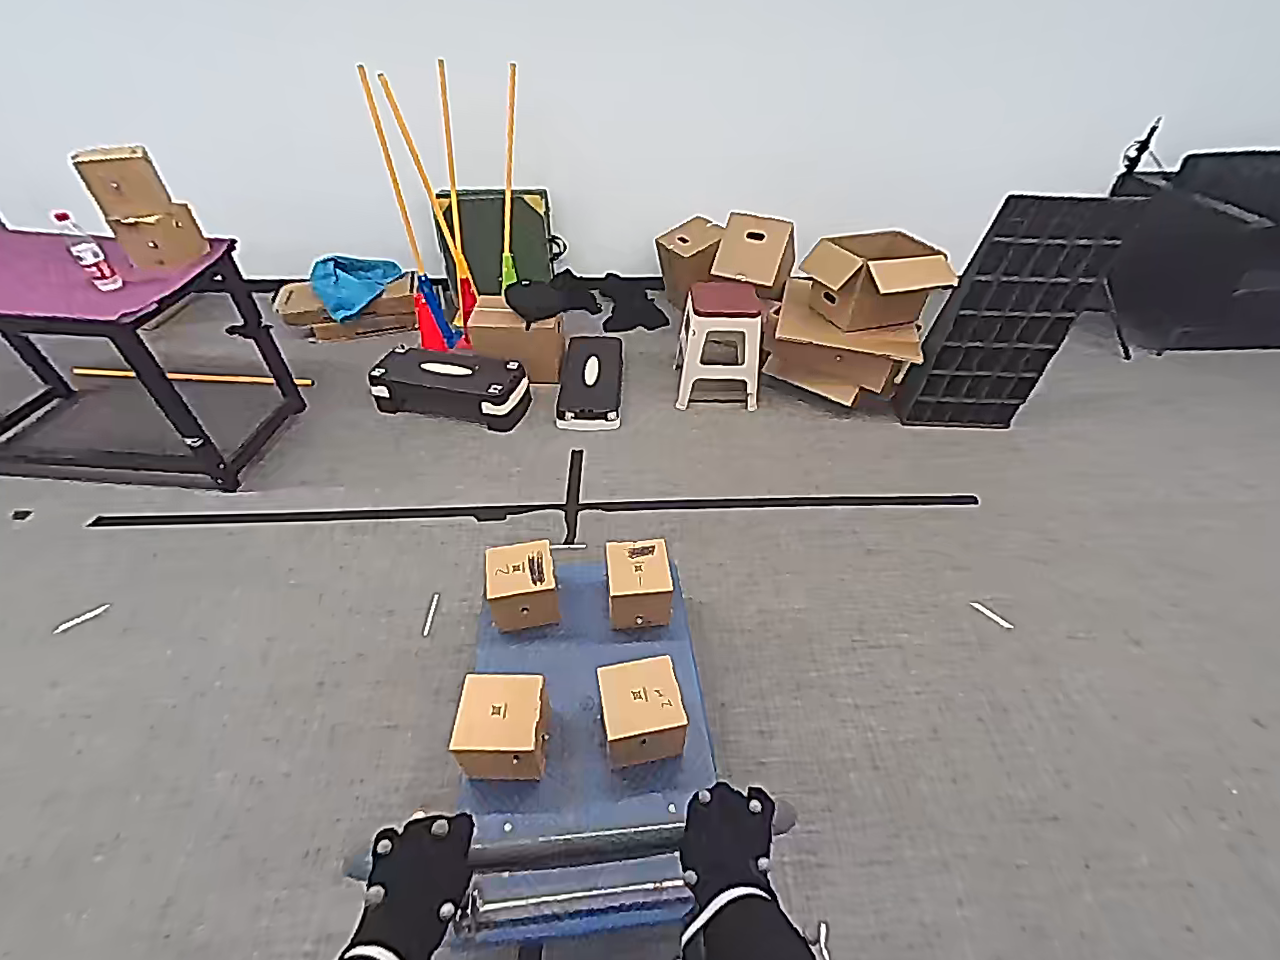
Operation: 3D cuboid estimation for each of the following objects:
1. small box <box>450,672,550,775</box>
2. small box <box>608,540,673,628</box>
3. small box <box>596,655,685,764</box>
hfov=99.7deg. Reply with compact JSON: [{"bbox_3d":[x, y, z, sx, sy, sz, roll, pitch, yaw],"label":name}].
[{"bbox_3d":[-0.306,0.552,1.222,0.179,0.176,0.168,2,43,-2],"label":"small box"},{"bbox_3d":[-0.004,0.289,1.506,0.168,0.176,0.179,-3,45,-5],"label":"small box"},{"bbox_3d":[-0.001,0.533,1.250,0.179,0.176,0.168,-7,45,-9],"label":"small box"}]
